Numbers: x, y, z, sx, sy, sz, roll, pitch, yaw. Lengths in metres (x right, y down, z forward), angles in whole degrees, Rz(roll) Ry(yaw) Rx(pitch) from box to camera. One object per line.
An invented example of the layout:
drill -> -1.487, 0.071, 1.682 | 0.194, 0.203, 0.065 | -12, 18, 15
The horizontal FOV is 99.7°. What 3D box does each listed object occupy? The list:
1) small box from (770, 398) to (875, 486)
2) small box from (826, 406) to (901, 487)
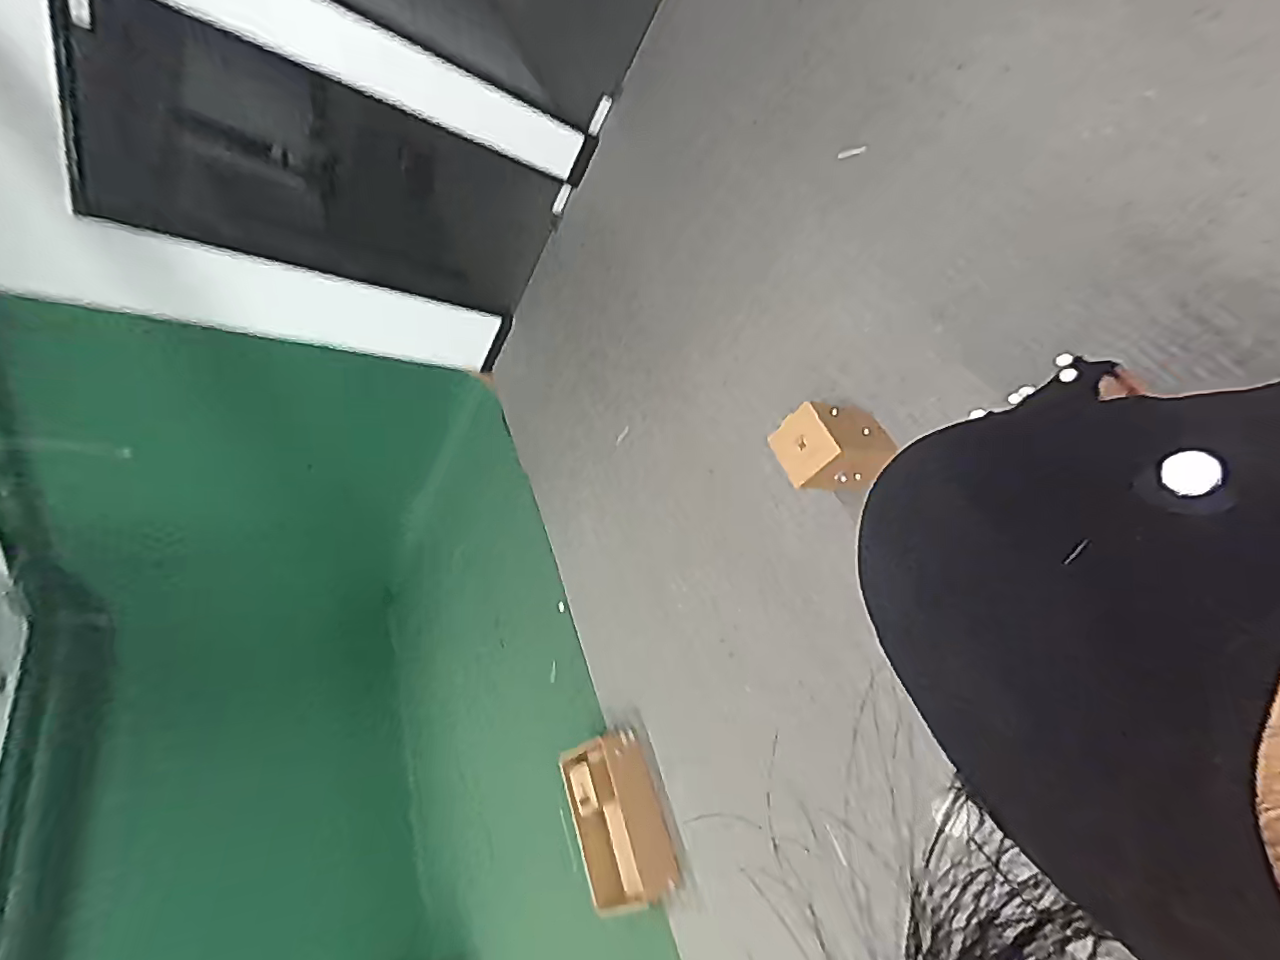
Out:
small box -> 0.496, -0.096, 1.471 | 0.168, 0.176, 0.179 | -49, 52, 39
small box -> 0.617, -0.091, 1.580 | 0.179, 0.176, 0.168 | -49, 51, 38
